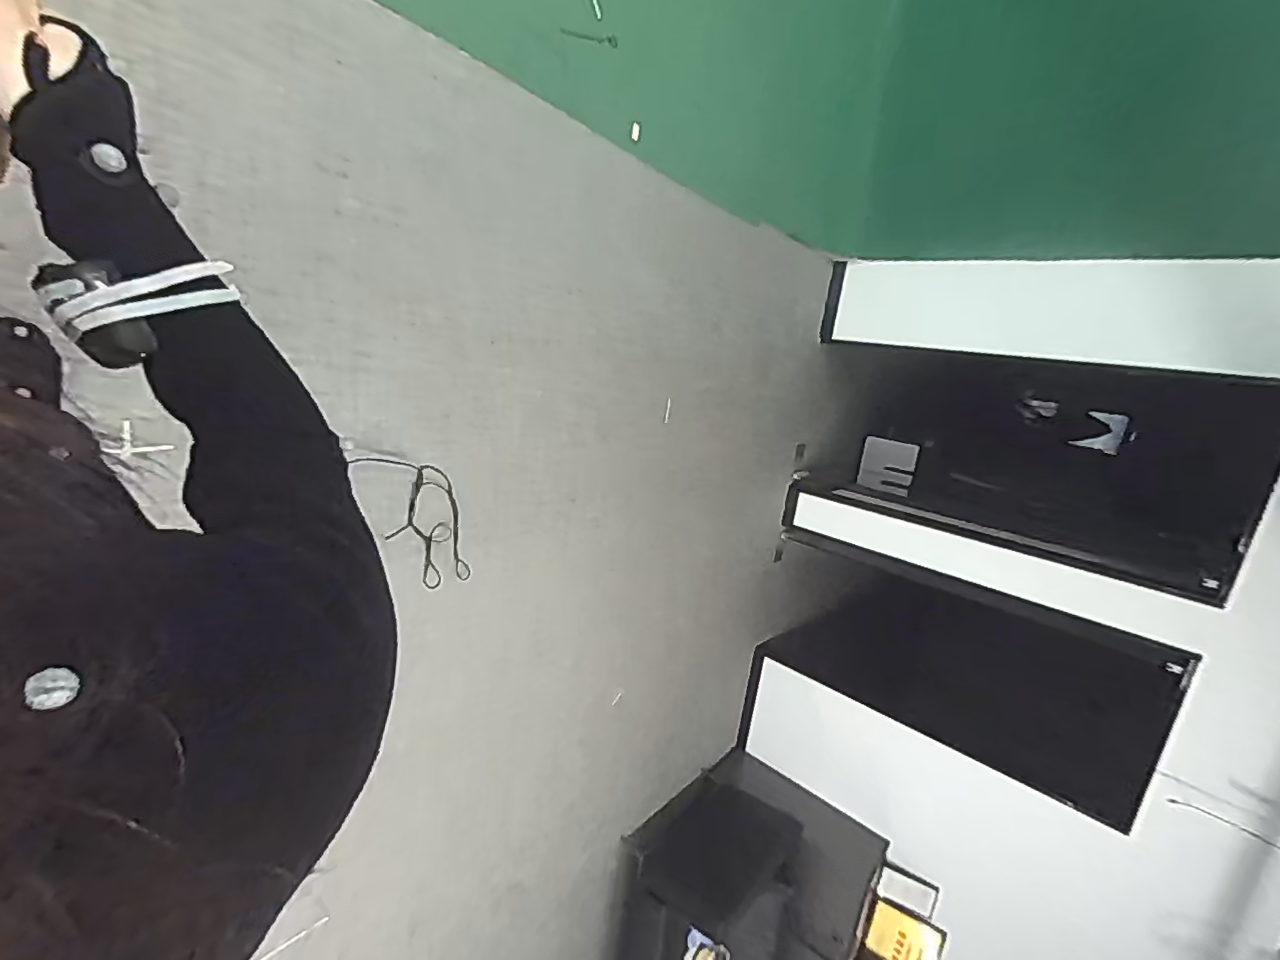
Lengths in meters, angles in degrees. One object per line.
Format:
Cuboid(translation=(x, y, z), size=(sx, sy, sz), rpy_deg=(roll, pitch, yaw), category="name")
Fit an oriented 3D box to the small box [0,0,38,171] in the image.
Cuboid(translation=(-0.511, -0.336, 0.333), size=(0.168, 0.176, 0.179), rpy_deg=(-5, 77, -56), category="small box")
